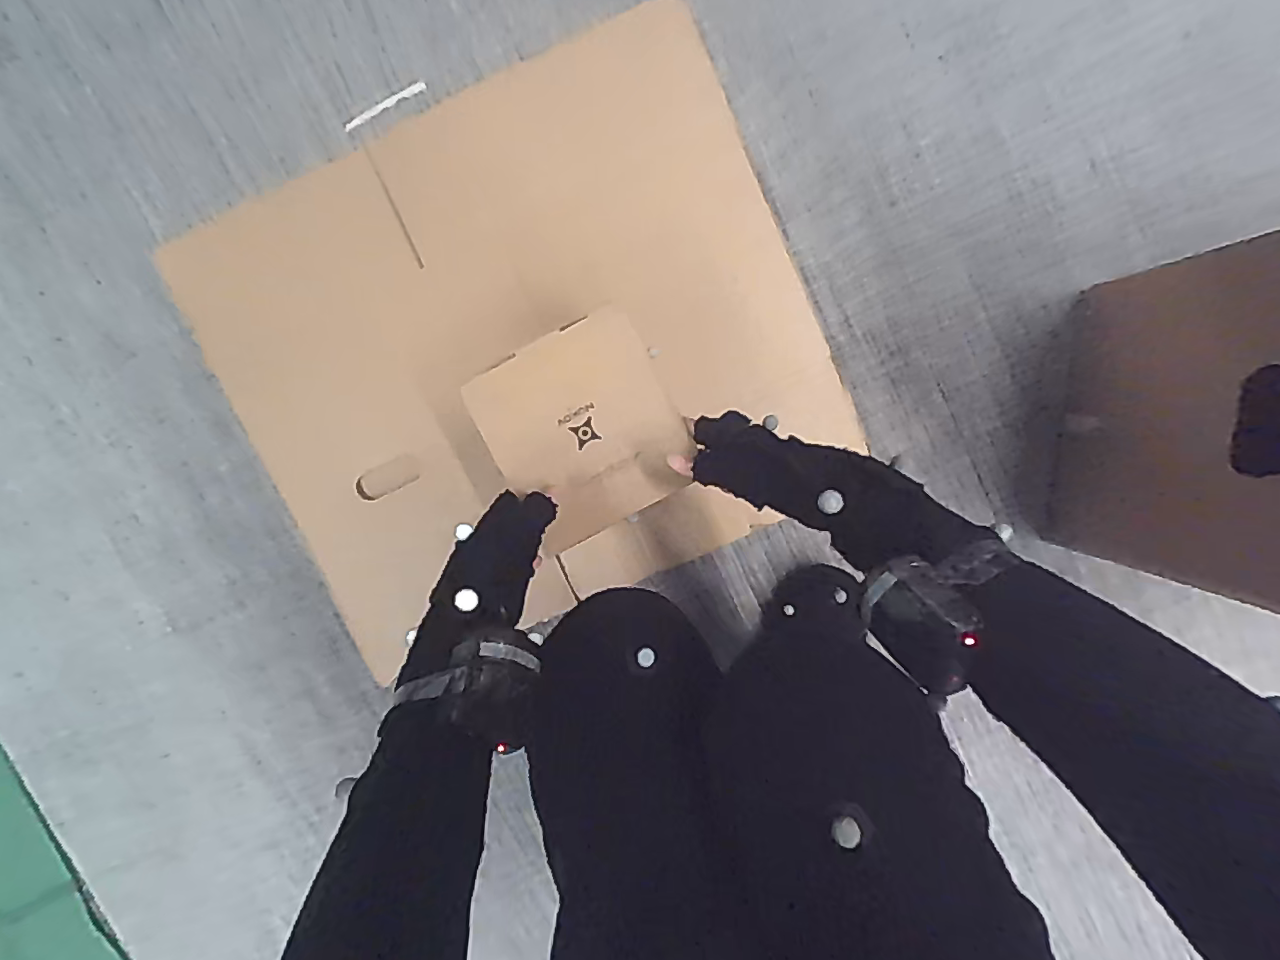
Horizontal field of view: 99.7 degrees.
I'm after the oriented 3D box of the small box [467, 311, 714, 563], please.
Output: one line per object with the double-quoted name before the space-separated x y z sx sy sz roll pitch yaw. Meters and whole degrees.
"small box" -0.042 -0.039 0.558 0.168 0.176 0.179 -29 91 4
